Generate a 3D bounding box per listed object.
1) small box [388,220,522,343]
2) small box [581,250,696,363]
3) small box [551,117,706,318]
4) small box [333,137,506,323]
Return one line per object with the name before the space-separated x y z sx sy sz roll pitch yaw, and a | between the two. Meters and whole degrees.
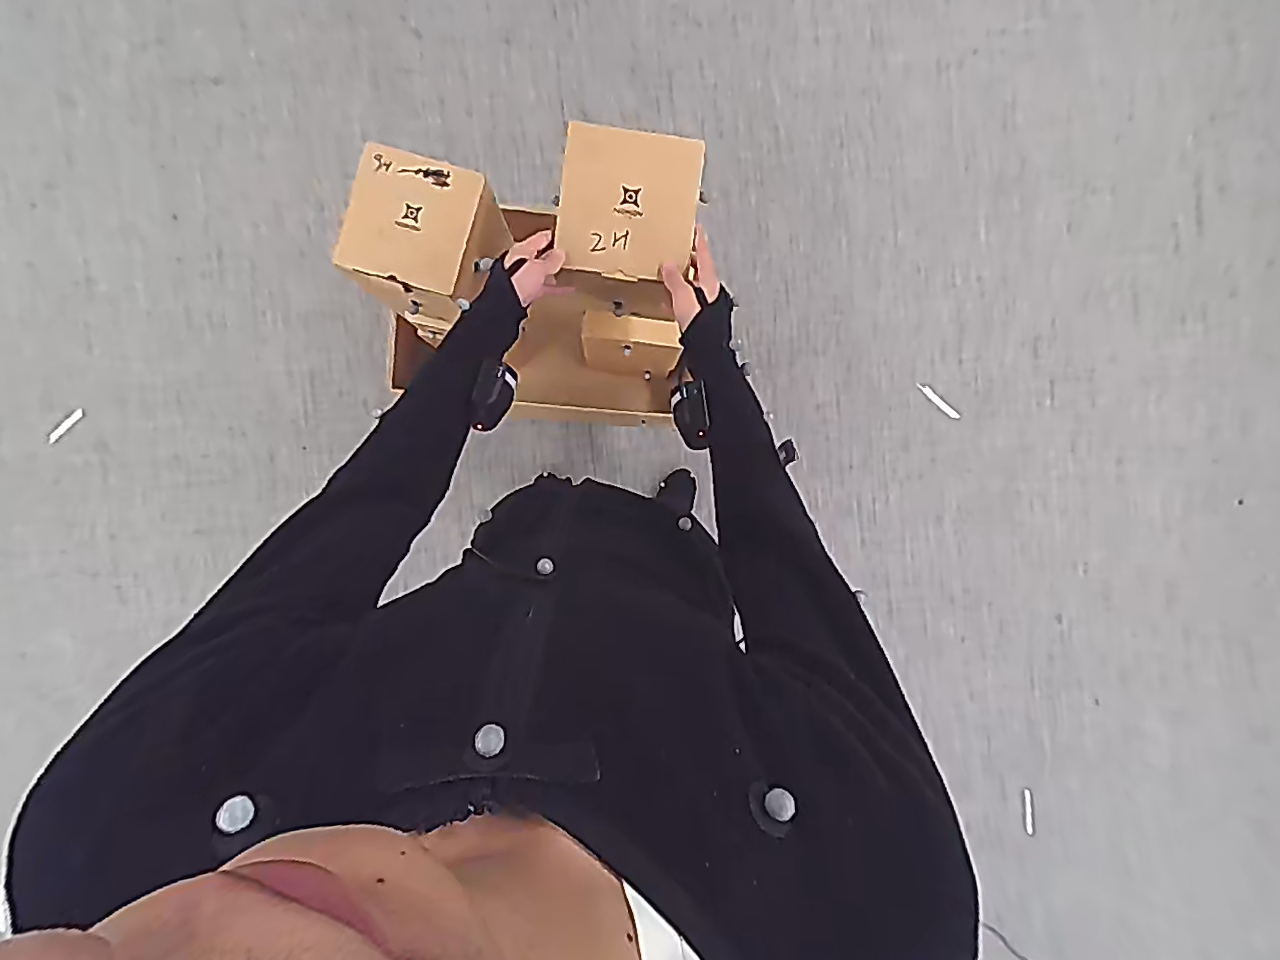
small box | -0.318 -0.359 0.964 0.168 0.176 0.179 12 89 -2
small box | -0.005 -0.315 0.978 0.179 0.176 0.168 7 89 -1
small box | -0.016 -0.333 0.718 0.168 0.176 0.179 8 92 -1
small box | -0.311 -0.352 0.799 0.168 0.176 0.179 16 90 -3
